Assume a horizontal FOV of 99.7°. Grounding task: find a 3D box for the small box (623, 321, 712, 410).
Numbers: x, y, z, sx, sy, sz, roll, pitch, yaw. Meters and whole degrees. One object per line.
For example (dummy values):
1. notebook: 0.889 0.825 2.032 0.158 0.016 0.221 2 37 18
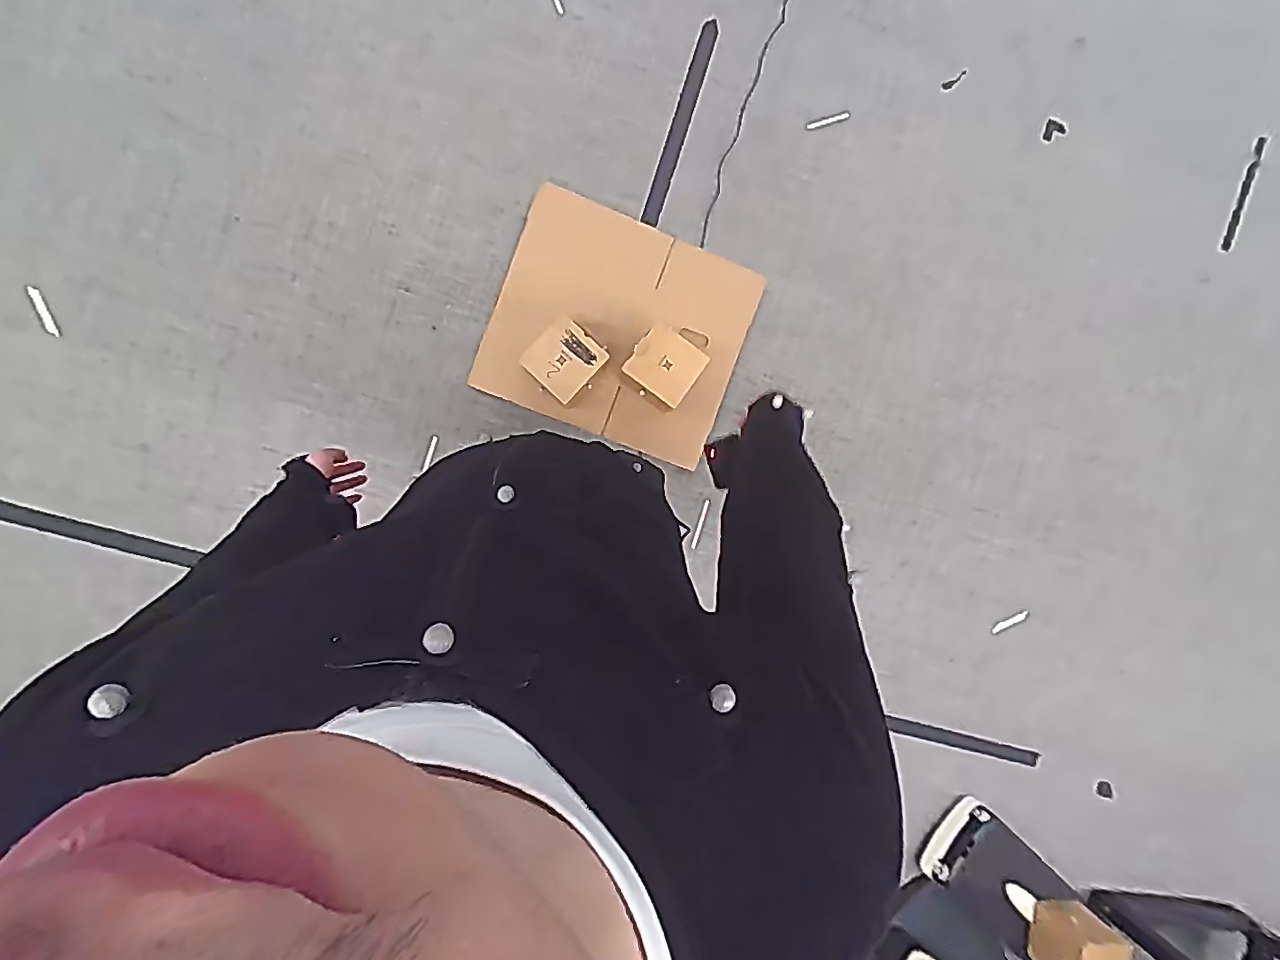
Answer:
1. small box: 0.070 -0.307 1.494 0.179 0.176 0.168 36 90 -4
